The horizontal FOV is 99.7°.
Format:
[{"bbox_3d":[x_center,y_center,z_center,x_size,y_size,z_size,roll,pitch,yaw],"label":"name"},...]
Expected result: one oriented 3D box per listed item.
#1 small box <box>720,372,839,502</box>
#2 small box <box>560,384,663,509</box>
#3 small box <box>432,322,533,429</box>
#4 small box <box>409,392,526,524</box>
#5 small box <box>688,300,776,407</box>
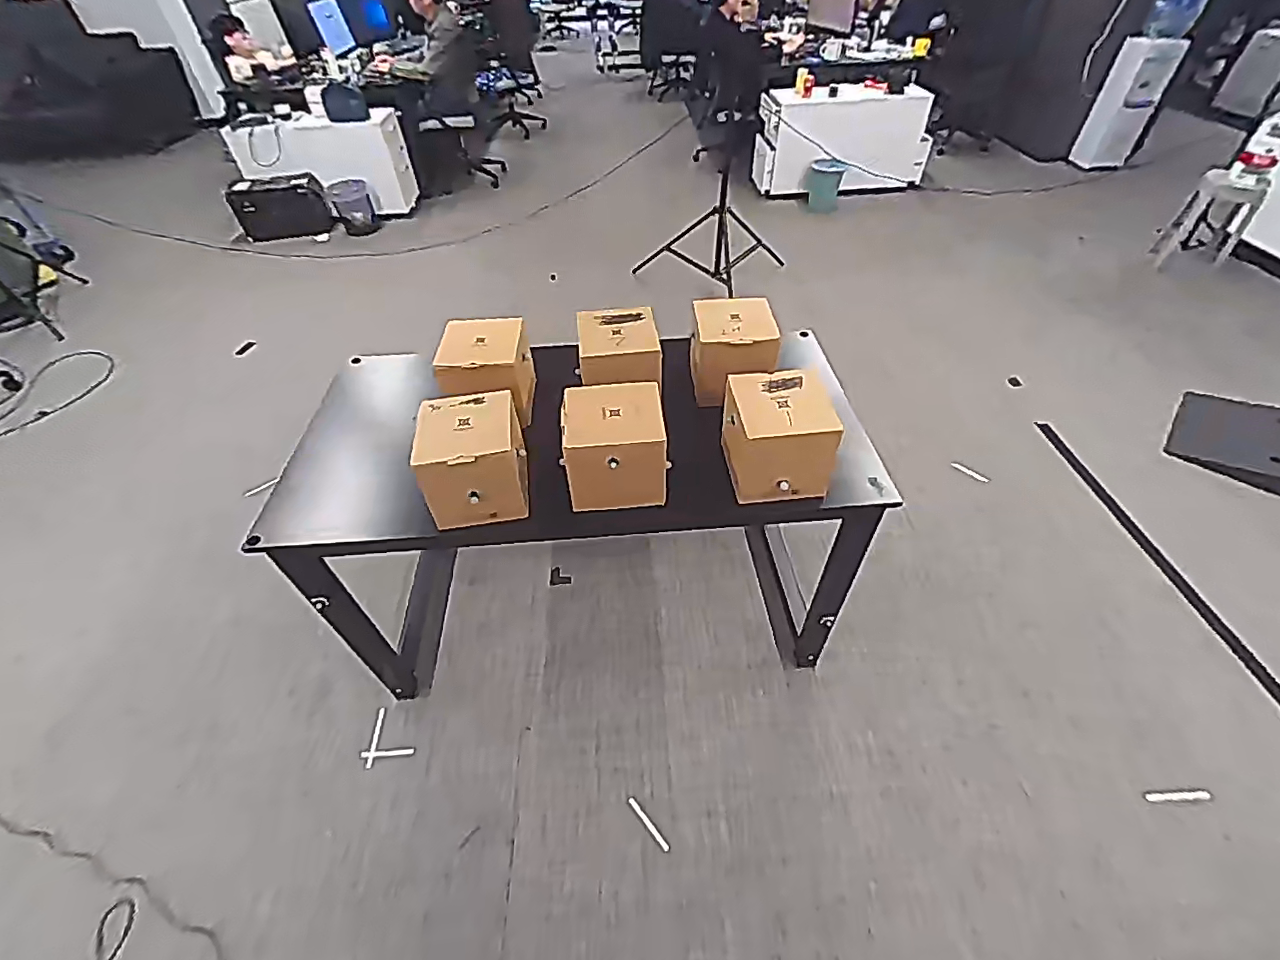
[{"bbox_3d":[0.248,-0.080,1.015,0.168,0.176,0.179,-6,46,-2],"label":"small box"},{"bbox_3d":[-0.051,-0.059,1.013,0.179,0.176,0.168,-5,46,-3],"label":"small box"},{"bbox_3d":[-0.334,-0.227,1.187,0.168,0.176,0.179,-3,47,-1],"label":"small box"},{"bbox_3d":[-0.307,-0.034,0.999,0.168,0.176,0.179,-8,47,-6],"label":"small box"},{"bbox_3d":[0.198,-0.284,1.215,0.168,0.176,0.179,-3,46,1],"label":"small box"}]
